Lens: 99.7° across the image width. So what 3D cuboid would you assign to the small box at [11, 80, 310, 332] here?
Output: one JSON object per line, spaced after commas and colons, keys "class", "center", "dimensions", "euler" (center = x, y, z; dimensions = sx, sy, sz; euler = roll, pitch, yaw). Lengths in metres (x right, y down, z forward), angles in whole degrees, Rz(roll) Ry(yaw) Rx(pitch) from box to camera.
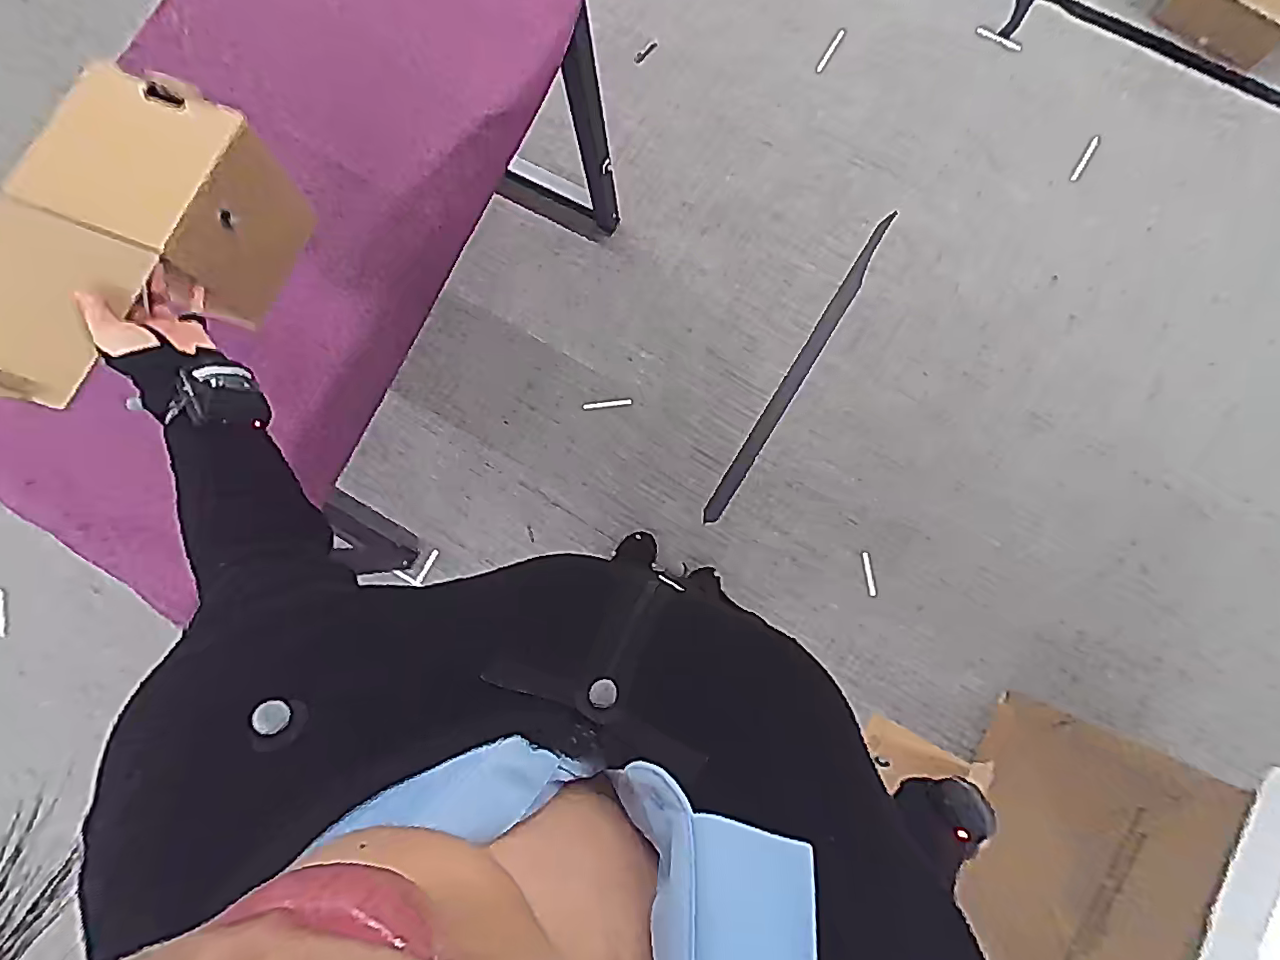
{"class": "small box", "center": [-0.532, -0.305, 0.637], "dimensions": [0.168, 0.176, 0.179], "euler": [20, 75, -3]}
